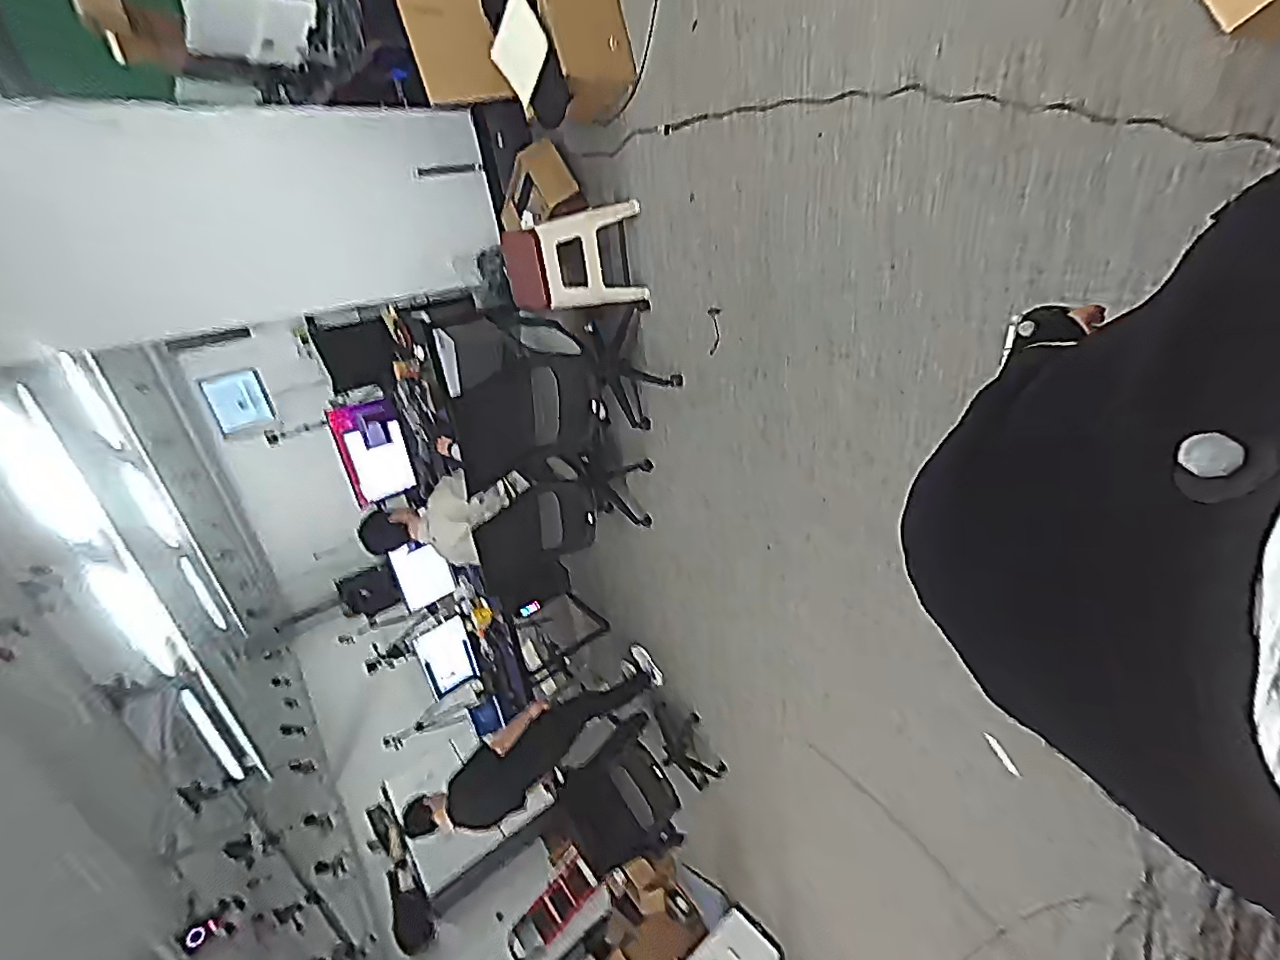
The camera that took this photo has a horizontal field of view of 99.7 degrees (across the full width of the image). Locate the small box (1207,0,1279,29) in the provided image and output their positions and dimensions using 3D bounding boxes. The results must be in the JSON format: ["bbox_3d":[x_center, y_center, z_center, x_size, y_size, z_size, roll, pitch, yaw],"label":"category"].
[{"bbox_3d":[0.842,-0.729,0.701,0.179,0.176,0.168,61,150,5],"label":"small box"}]

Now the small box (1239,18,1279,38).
[{"bbox_3d":[0.969,-0.790,0.783,0.168,0.176,0.179,-27,87,58],"label":"small box"}]
